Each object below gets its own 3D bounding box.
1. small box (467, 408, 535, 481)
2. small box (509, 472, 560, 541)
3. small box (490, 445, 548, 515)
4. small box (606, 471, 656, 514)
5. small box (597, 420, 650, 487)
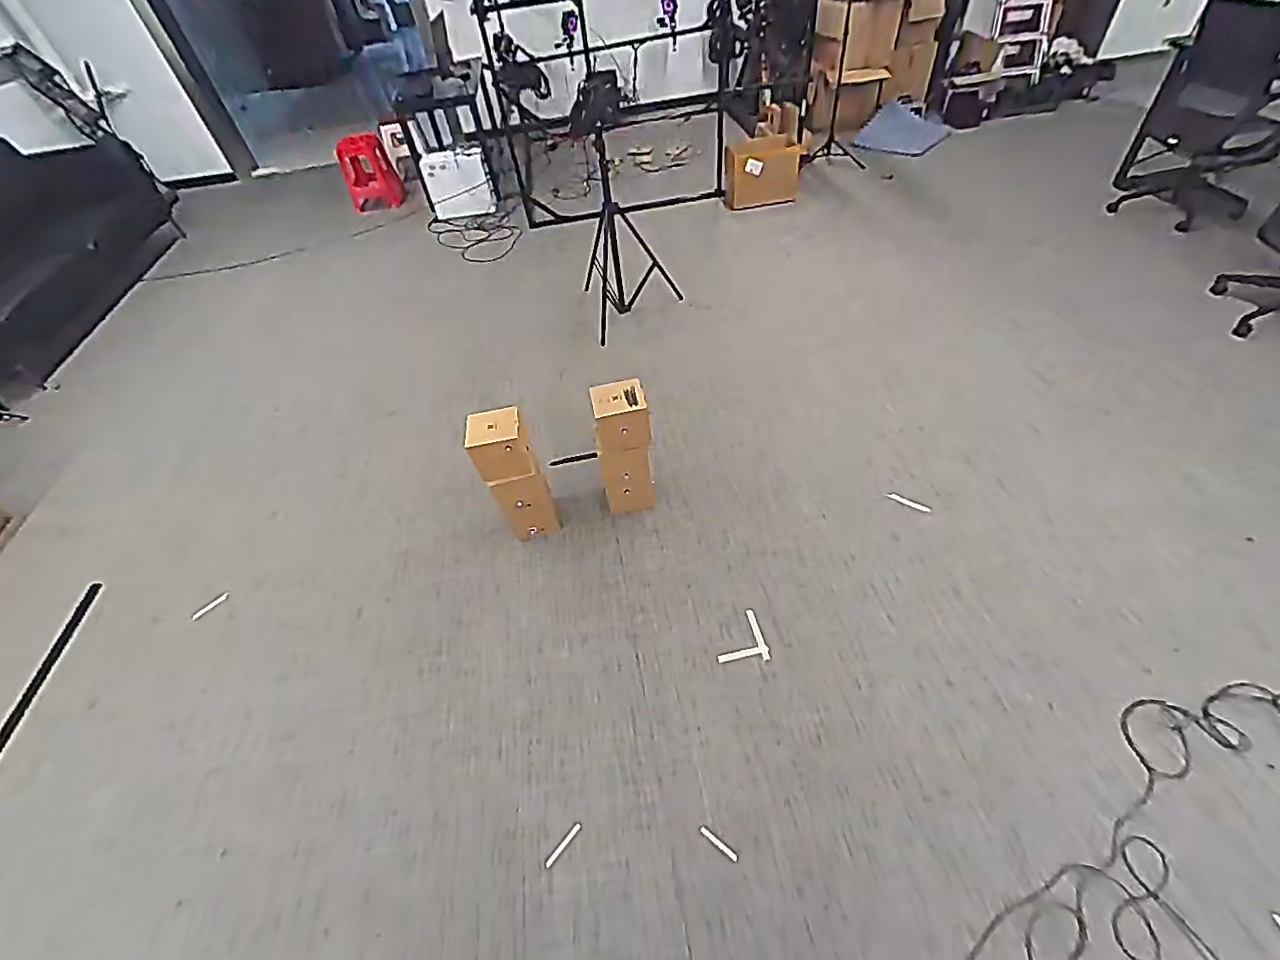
[{"bbox_3d":[-0.466,-0.115,1.830,0.179,0.176,0.168,-10,48,-1],"label":"small box"},{"bbox_3d":[-0.411,0.102,2.067,0.168,0.176,0.179,-15,48,-5],"label":"small box"},{"bbox_3d":[-0.434,-0.002,1.942,0.168,0.176,0.179,-14,49,-4],"label":"small box"},{"bbox_3d":[-0.041,0.014,2.095,0.179,0.176,0.168,-9,48,-2],"label":"small box"},{"bbox_3d":[-0.057,-0.096,1.974,0.179,0.176,0.168,-8,47,-1],"label":"small box"}]
